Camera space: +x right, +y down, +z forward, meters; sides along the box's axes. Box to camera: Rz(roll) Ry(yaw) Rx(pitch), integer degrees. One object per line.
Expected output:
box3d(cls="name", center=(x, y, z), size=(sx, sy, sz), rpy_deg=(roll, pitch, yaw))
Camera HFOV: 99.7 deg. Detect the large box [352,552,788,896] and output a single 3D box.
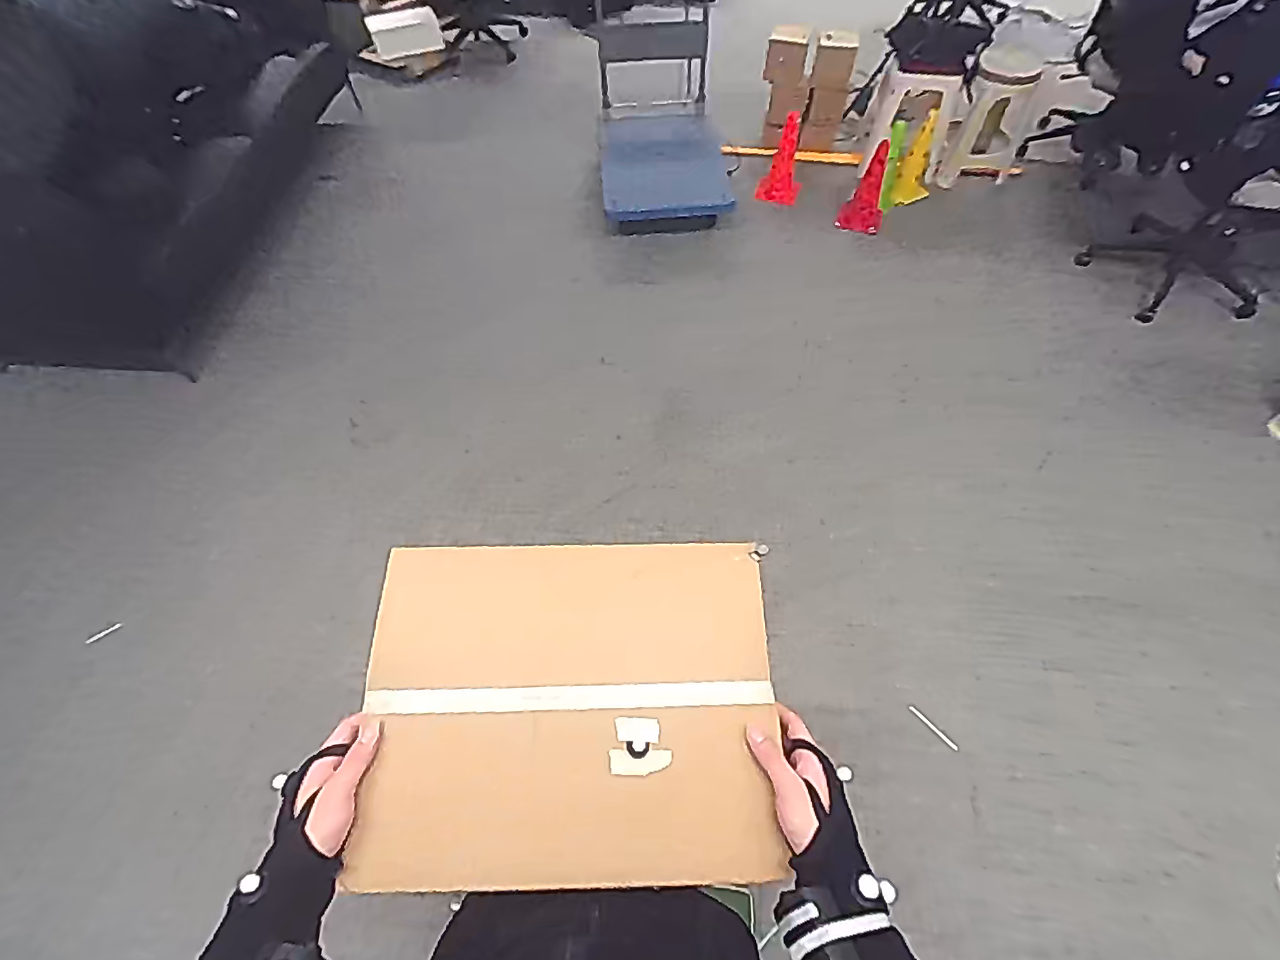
box3d(cls="large box", center=(-0.070, 0.289, 0.684), size=(0.408, 0.320, 0.320), rpy_deg=(-1, 66, -2))
